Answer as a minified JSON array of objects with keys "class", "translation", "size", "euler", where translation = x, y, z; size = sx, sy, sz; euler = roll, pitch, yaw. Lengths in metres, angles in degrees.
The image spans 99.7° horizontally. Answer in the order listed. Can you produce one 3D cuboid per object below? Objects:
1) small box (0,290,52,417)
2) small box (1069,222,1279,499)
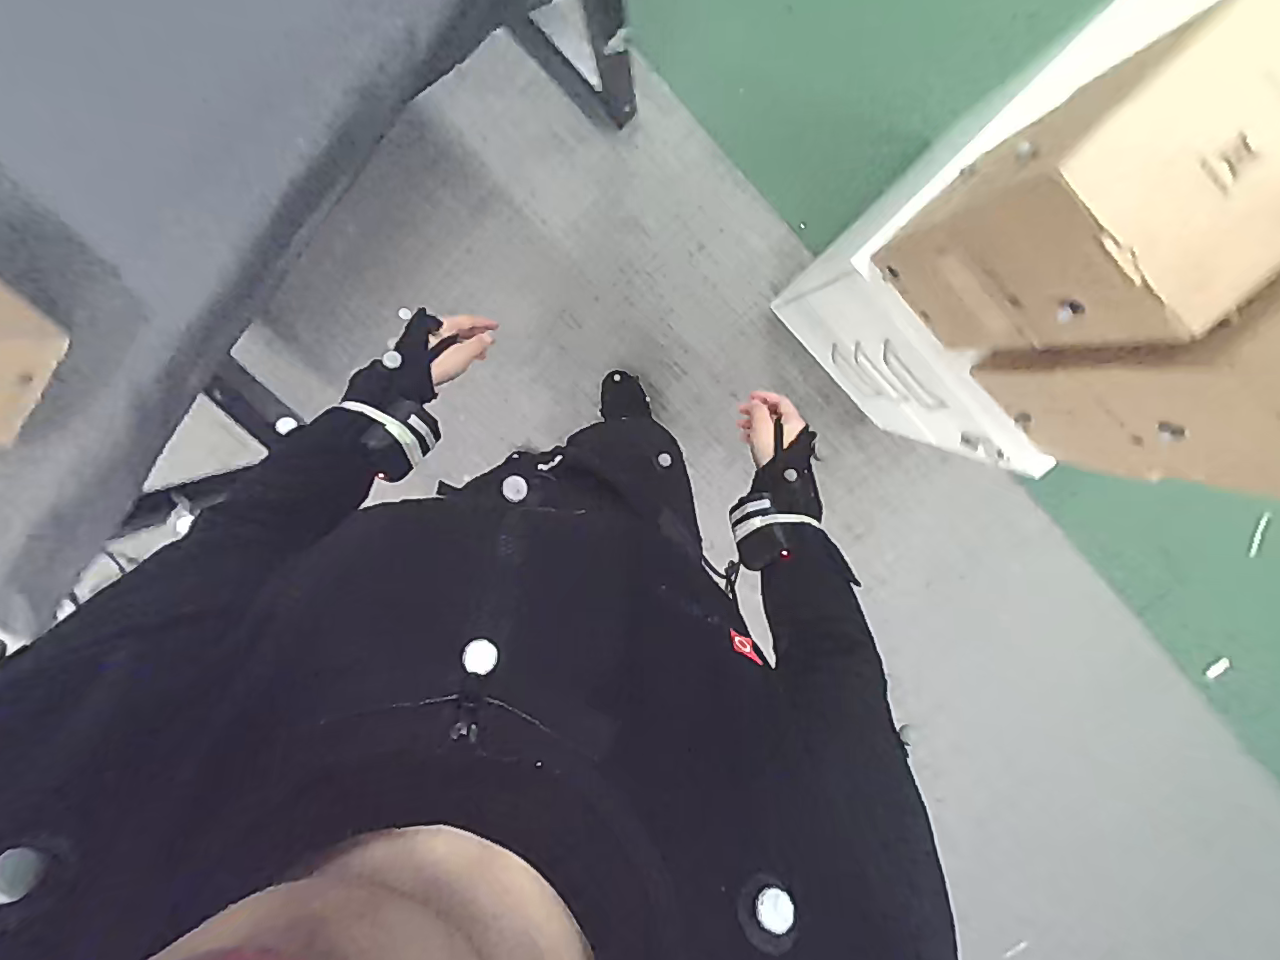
[{"class":"small box","translation":[-0.766,-0.145,0.532],"size":[0.179,0.176,0.168],"euler":[40,100,-6]},{"class":"small box","translation":[0.533,-0.101,0.474],"size":[0.168,0.176,0.179],"euler":[42,100,-7]}]
